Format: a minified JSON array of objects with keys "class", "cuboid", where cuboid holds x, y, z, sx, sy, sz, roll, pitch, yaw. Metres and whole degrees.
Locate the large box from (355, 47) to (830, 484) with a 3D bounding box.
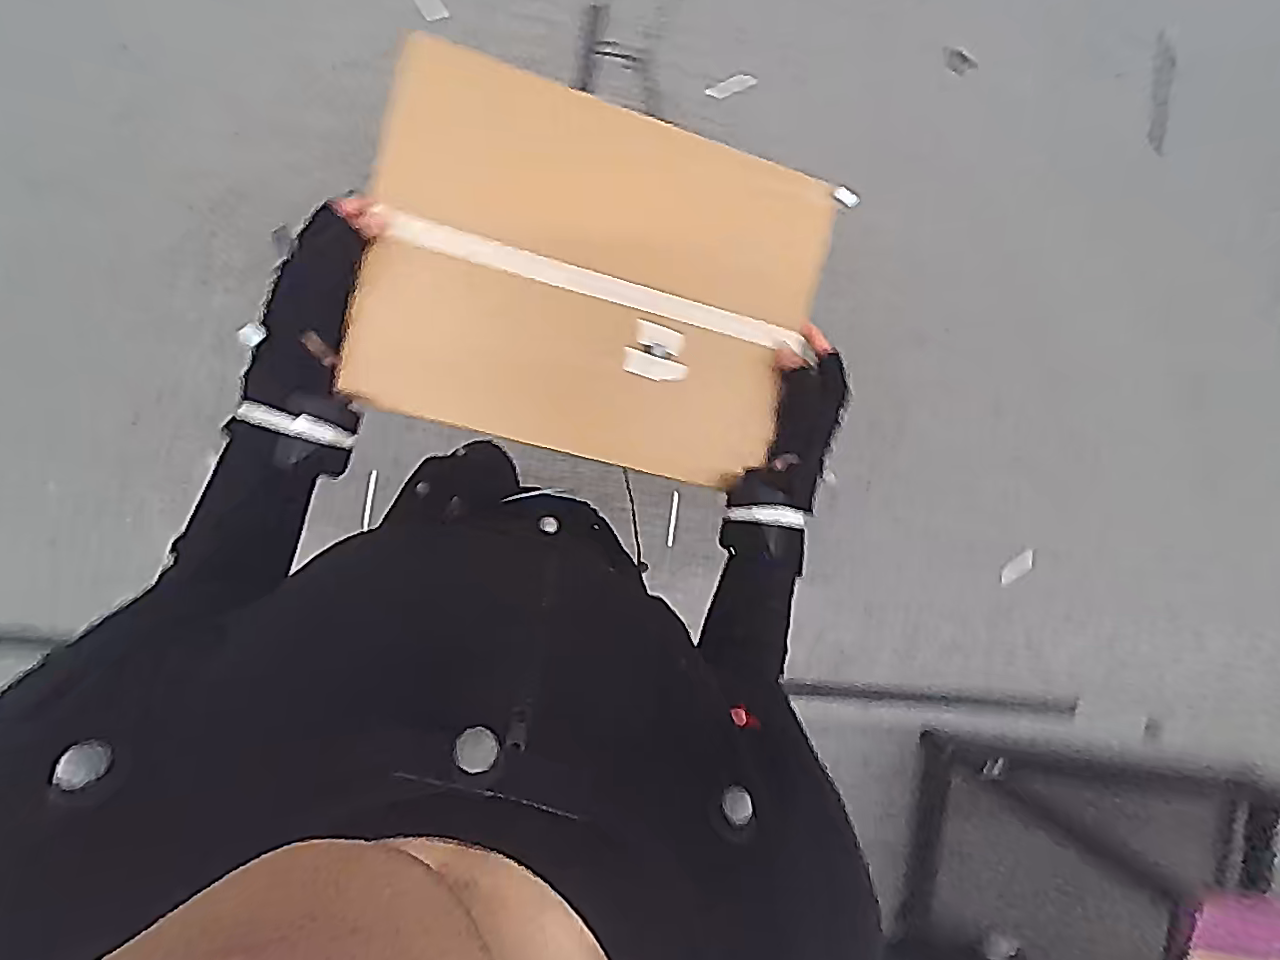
[{"class":"large box","cuboid":[-0.061,-0.200,0.656,0.408,0.320,0.320,14,95,-12]}]
